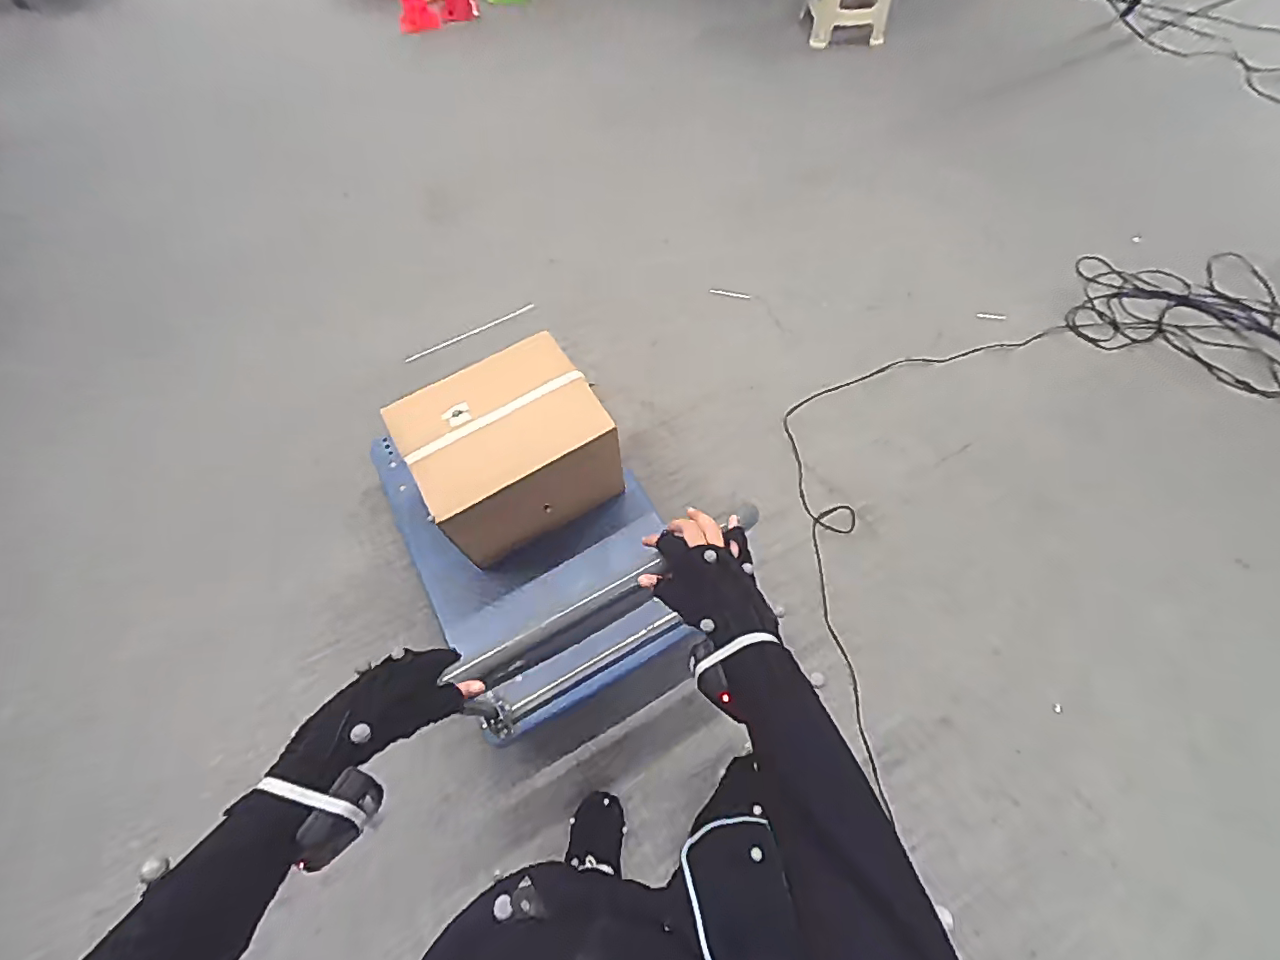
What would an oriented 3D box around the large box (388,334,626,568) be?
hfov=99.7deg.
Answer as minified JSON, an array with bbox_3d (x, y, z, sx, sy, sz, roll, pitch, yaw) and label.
[{"bbox_3d":[-0.285,-0.058,1.270,0.408,0.320,0.320,-31,66,-11],"label":"large box"}]
